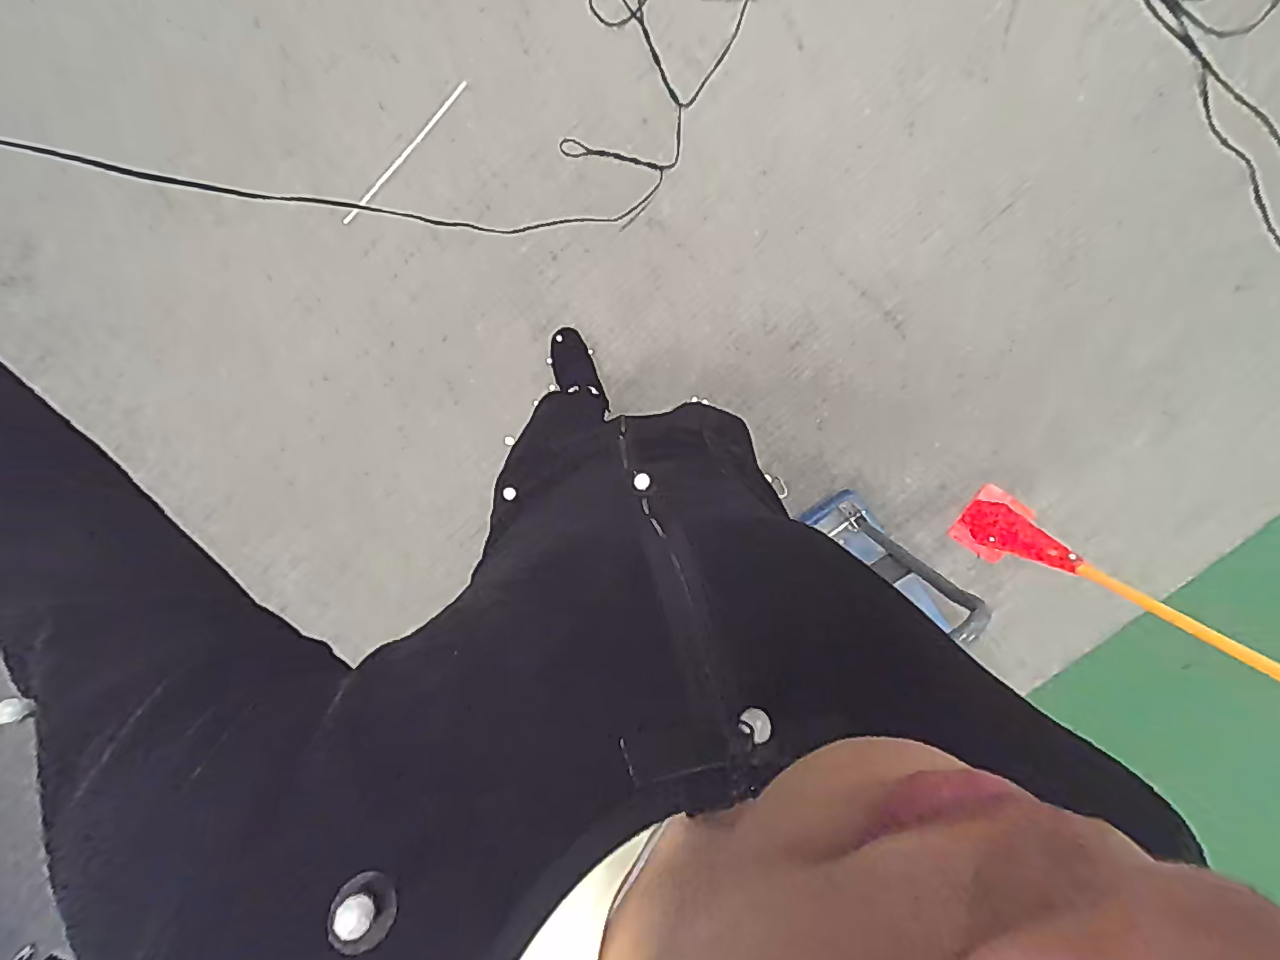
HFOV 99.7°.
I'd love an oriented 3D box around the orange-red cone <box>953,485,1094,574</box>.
[{"bbox_3d":[1.096,0.172,1.501,0.198,0.360,0.199,32,100,-9],"label":"orange-red cone"}]
